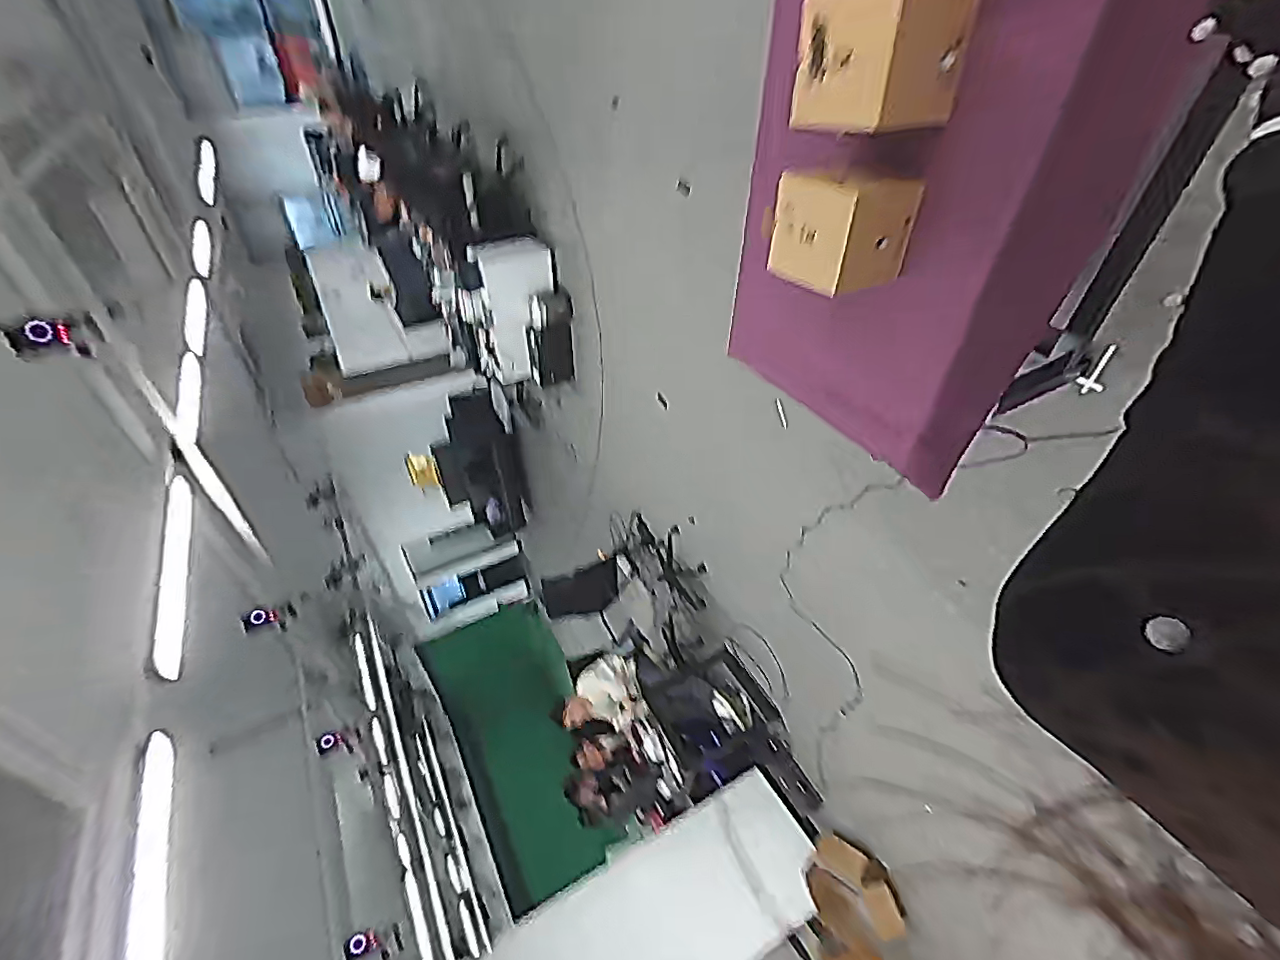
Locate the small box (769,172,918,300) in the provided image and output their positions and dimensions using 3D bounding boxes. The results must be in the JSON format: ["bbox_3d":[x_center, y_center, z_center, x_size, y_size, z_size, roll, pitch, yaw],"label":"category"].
[{"bbox_3d":[0.365,-0.451,0.985,0.179,0.176,0.168,47,149,42],"label":"small box"}]

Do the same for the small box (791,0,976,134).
[{"bbox_3d":[0.364,-0.638,0.831,0.179,0.176,0.168,44,147,44],"label":"small box"}]
